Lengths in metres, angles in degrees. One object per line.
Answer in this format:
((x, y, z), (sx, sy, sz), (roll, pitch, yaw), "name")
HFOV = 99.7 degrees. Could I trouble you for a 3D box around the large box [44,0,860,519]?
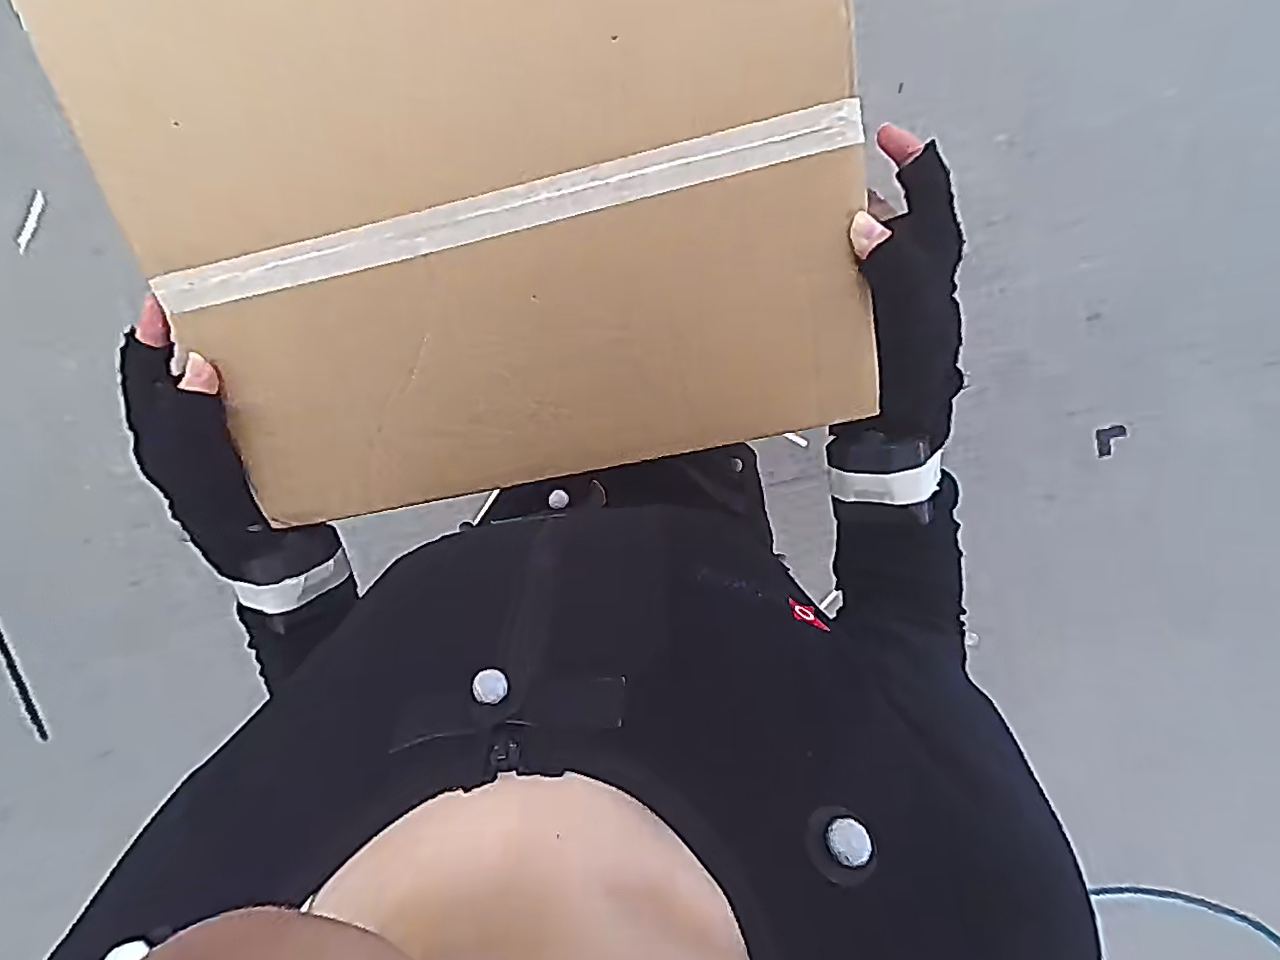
((-0.081, -0.203, 0.448), (0.408, 0.320, 0.320), (-11, 109, 6), "large box")
